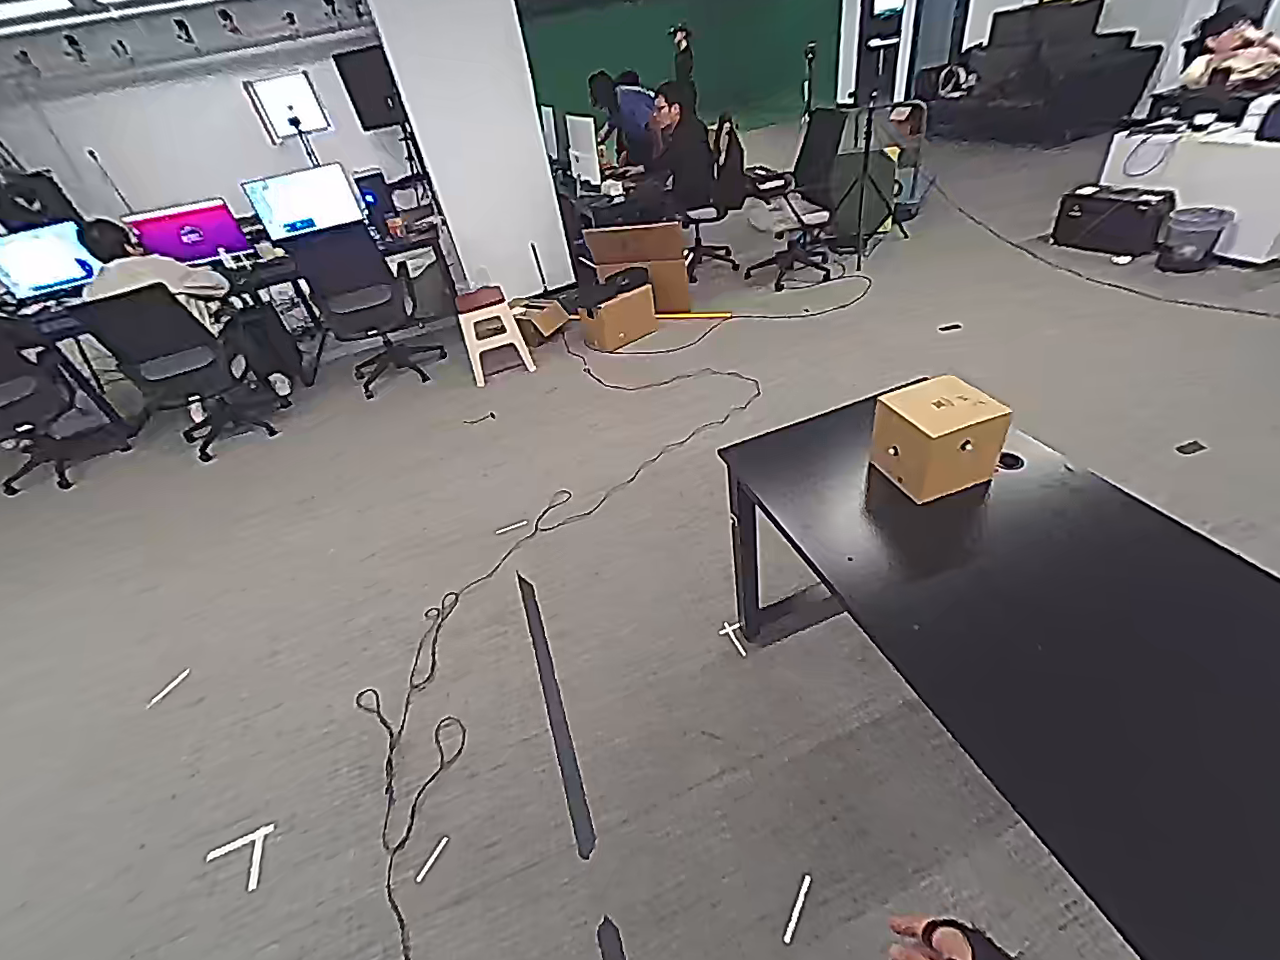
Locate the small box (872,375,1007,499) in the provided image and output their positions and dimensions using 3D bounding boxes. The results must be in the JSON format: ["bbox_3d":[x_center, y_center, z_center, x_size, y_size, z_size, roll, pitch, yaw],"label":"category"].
[{"bbox_3d":[0.596,-0.086,1.104,0.179,0.176,0.168,-18,39,-7],"label":"small box"}]
